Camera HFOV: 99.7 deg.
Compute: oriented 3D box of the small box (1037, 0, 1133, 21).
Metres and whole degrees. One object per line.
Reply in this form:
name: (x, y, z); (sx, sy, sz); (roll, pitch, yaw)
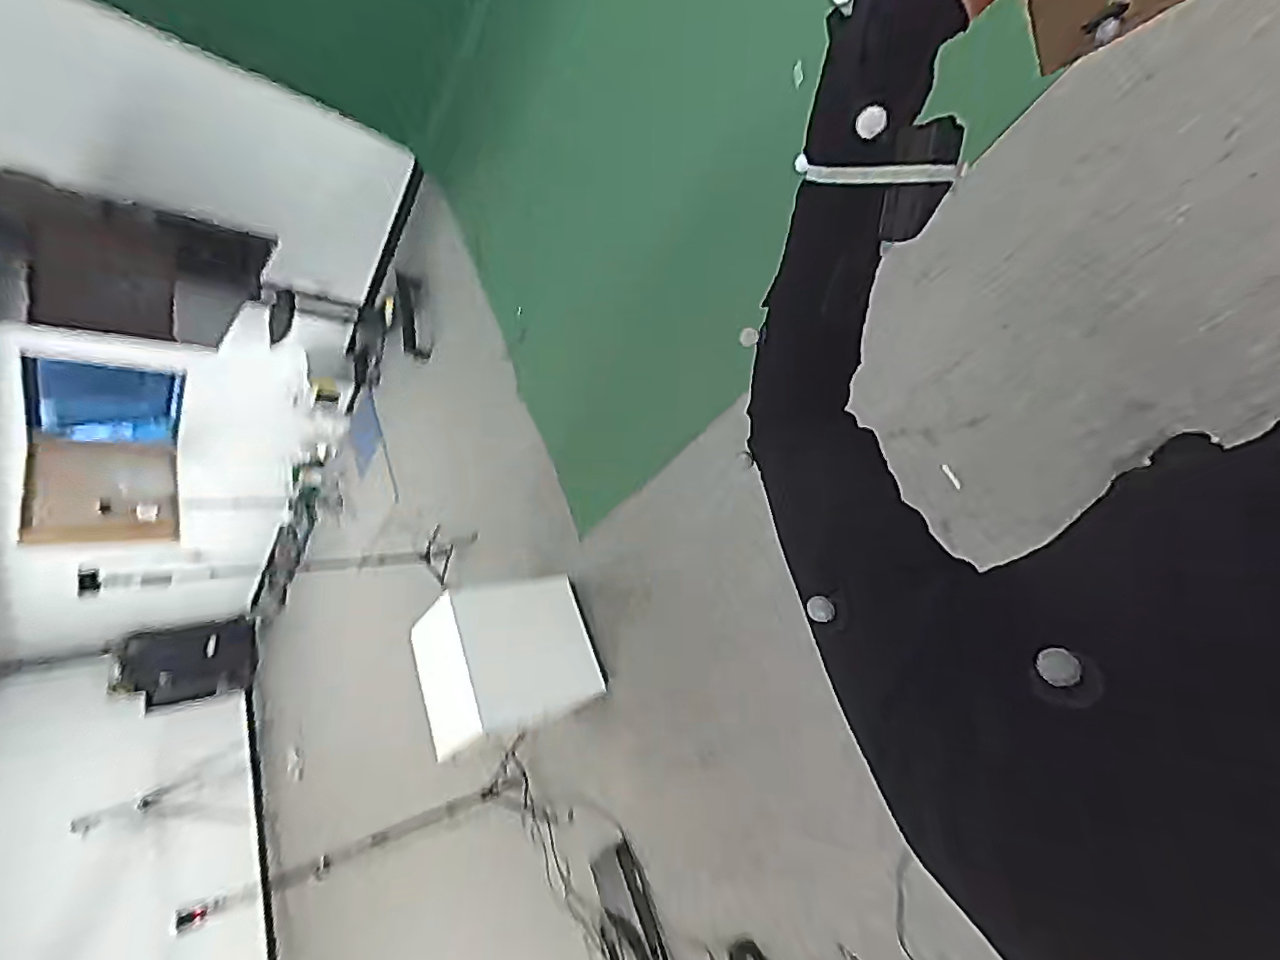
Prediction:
small box: (0.280, -0.389, 0.269); (0.168, 0.176, 0.179); (-15, 81, 40)
